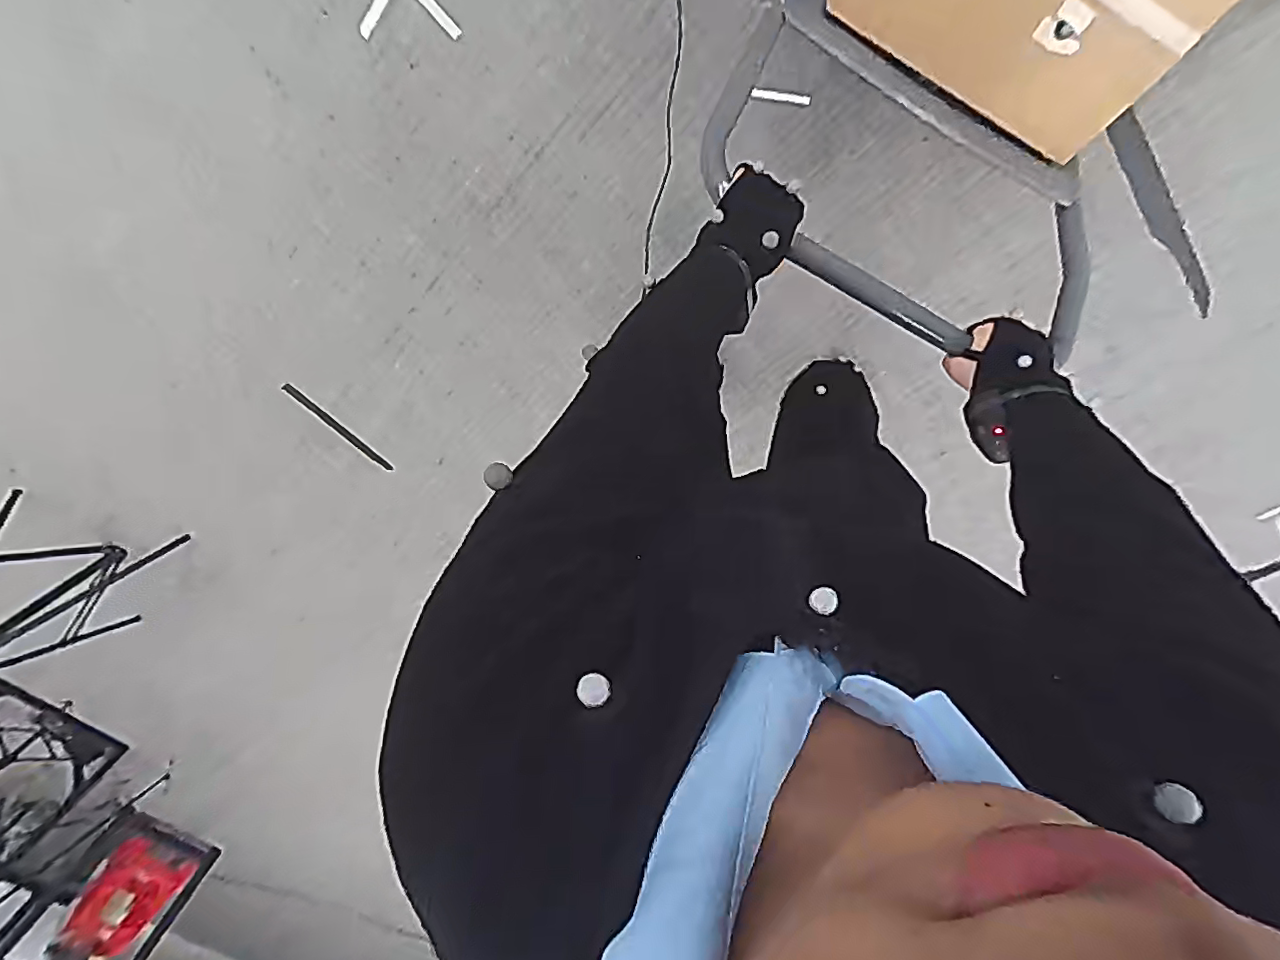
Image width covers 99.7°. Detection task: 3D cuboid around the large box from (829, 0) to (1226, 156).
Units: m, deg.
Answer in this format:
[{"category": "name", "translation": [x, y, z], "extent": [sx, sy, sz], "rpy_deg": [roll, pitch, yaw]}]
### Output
[{"category": "large box", "translation": [0.517, -0.730, 0.704], "extent": [0.408, 0.320, 0.320], "rpy_deg": [26, 147, -9]}]
